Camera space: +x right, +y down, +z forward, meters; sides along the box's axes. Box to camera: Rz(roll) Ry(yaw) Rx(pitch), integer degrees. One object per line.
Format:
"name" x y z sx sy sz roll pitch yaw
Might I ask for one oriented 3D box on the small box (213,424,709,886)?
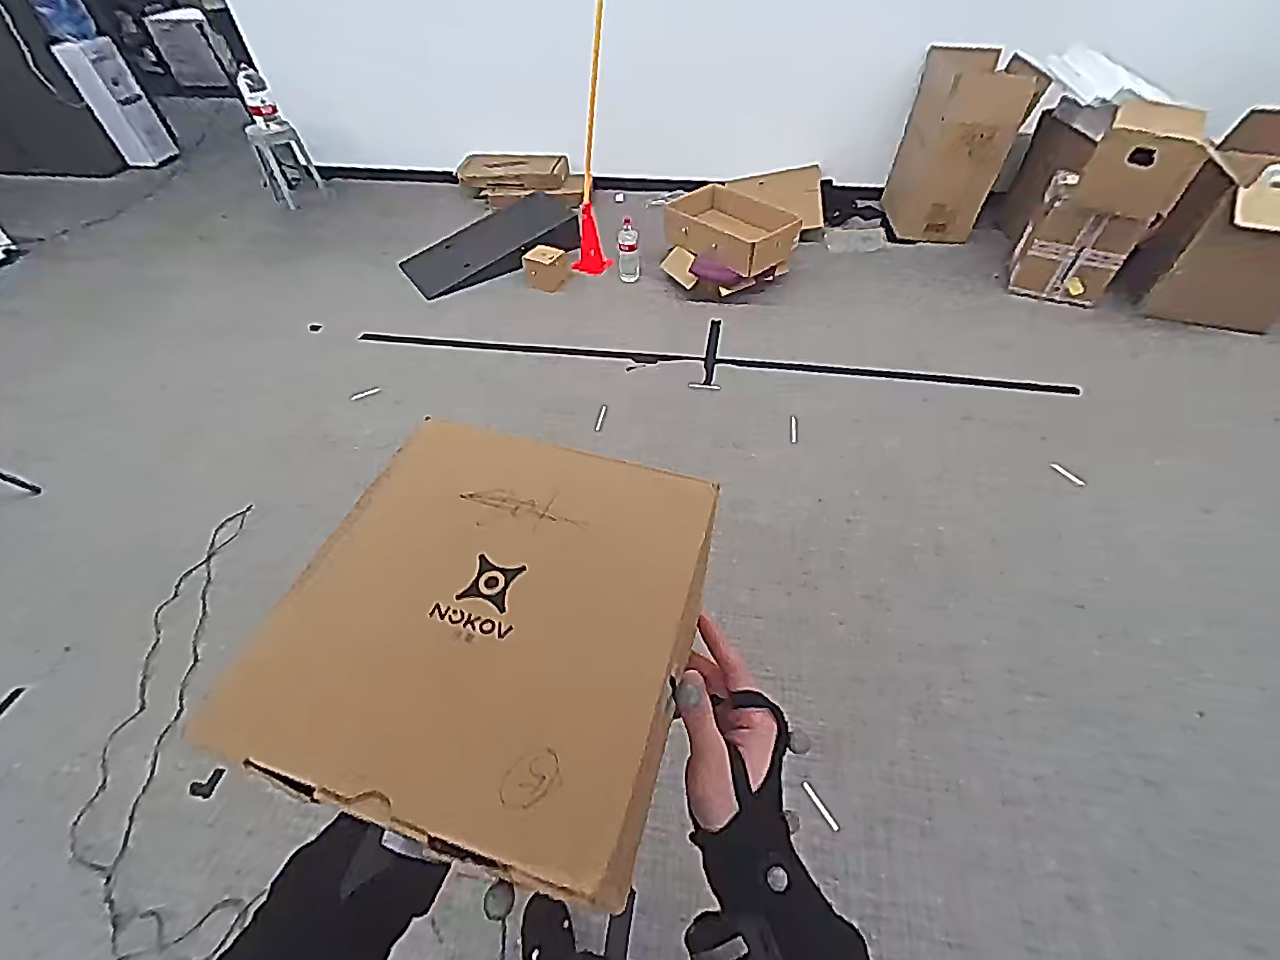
"small box" -0.064 0.100 0.306 0.168 0.176 0.179 13 51 11
